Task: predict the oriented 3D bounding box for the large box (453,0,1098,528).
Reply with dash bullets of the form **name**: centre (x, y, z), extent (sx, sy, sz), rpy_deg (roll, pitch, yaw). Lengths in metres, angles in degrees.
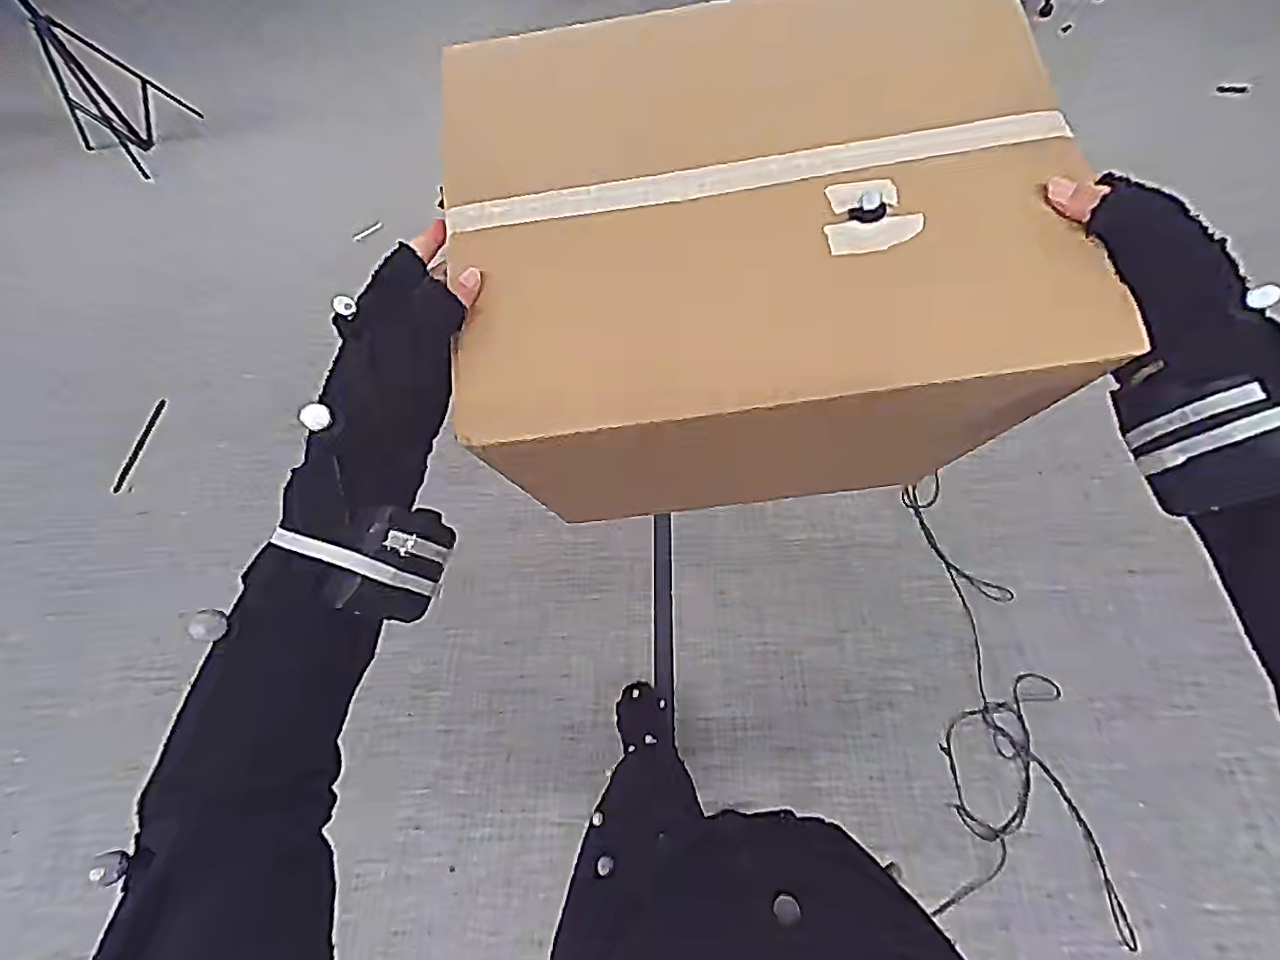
- **large box**: centre (0.078, -0.154, 0.521), extent (0.408, 0.320, 0.320), rpy_deg (-8, 75, 3)
